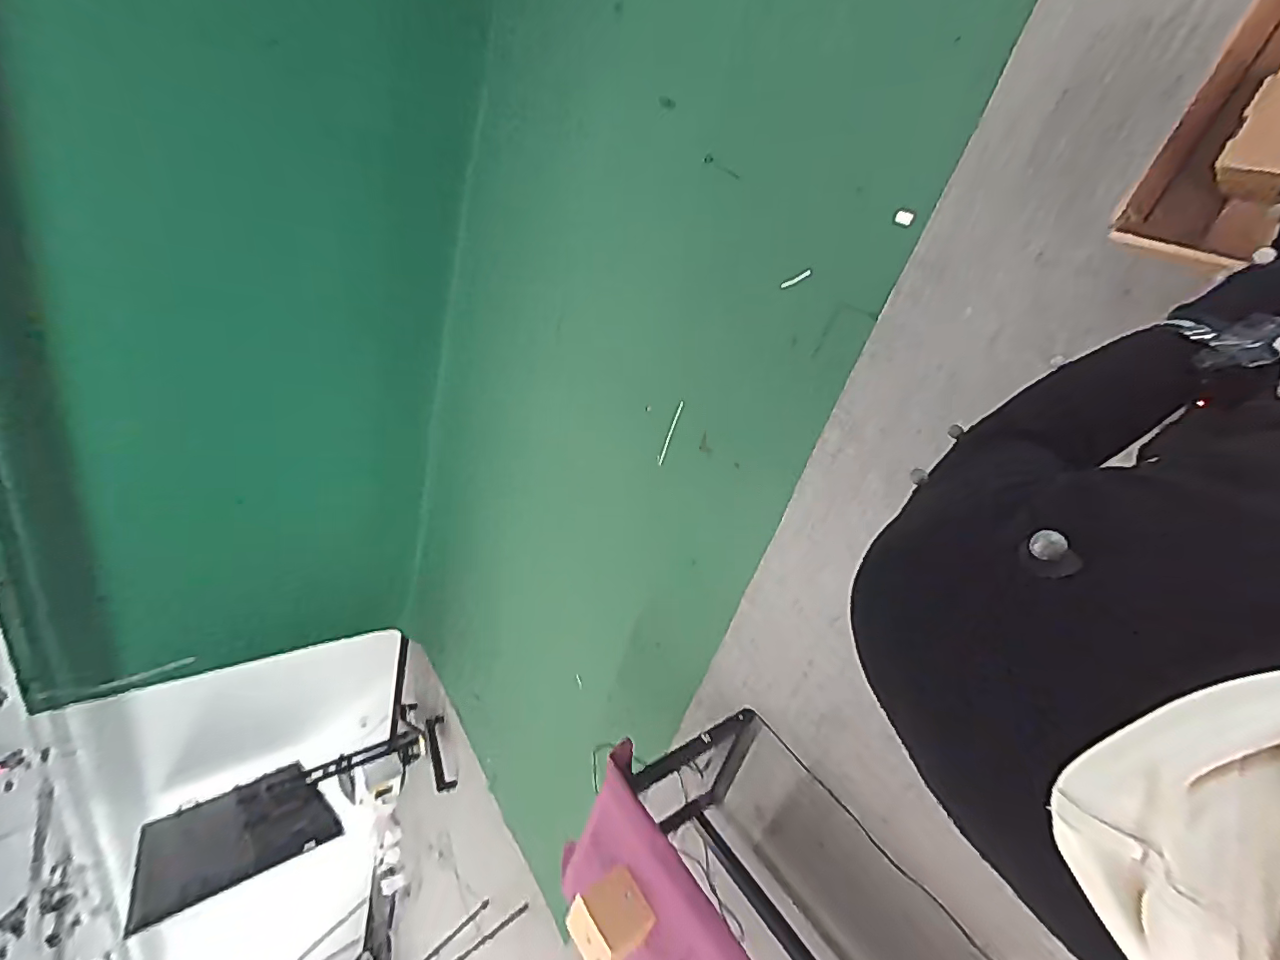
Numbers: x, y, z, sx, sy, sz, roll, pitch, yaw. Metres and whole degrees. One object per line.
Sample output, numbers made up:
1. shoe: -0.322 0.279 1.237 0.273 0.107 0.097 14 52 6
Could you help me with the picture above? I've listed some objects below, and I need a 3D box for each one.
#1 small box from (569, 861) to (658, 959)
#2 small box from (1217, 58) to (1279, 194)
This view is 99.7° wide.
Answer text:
1. small box: -0.078 1.272 1.592 0.179 0.176 0.168 40 124 38
2. small box: 0.913 -0.471 0.697 0.179 0.176 0.168 40 124 37
